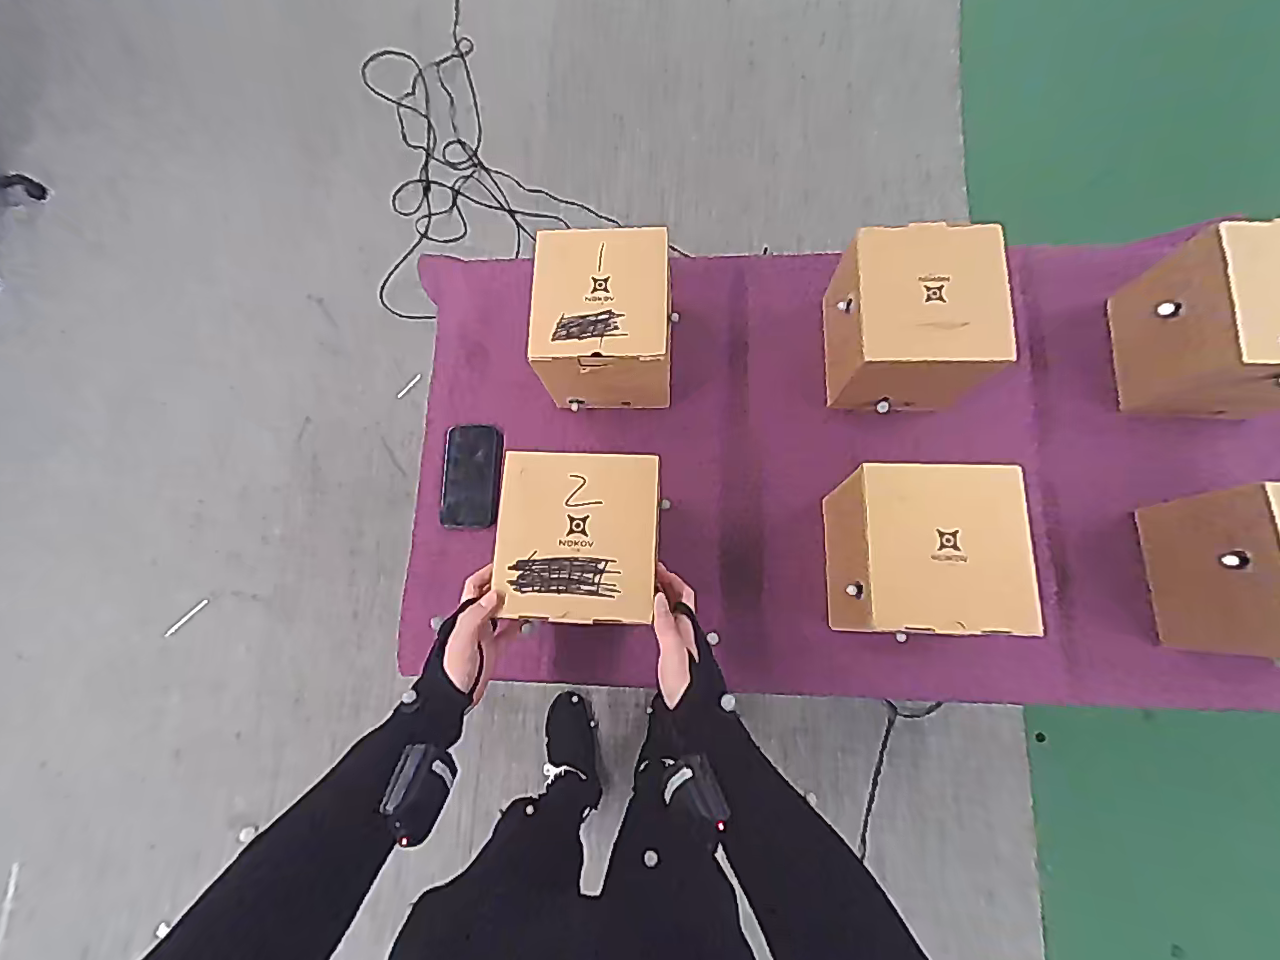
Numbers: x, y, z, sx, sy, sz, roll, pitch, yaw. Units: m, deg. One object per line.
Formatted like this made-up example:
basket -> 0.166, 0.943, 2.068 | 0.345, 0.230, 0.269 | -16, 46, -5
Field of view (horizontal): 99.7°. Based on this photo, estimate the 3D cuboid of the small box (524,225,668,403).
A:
small box -> -0.048, -0.209, 0.724 | 0.168, 0.176, 0.179 | 0, 77, 5

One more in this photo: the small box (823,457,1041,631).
small box -> 0.318, 0.080, 0.630 | 0.168, 0.176, 0.179 | 1, 77, 4

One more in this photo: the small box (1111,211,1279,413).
small box -> 0.724, -0.195, 0.658 | 0.168, 0.176, 0.179 | 2, 77, 6

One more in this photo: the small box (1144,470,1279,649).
small box -> 0.708, 0.093, 0.589 | 0.168, 0.176, 0.179 | -1, 77, 6

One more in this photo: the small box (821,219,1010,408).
small box -> 0.335, -0.205, 0.694 | 0.168, 0.176, 0.179 | 1, 78, 6
